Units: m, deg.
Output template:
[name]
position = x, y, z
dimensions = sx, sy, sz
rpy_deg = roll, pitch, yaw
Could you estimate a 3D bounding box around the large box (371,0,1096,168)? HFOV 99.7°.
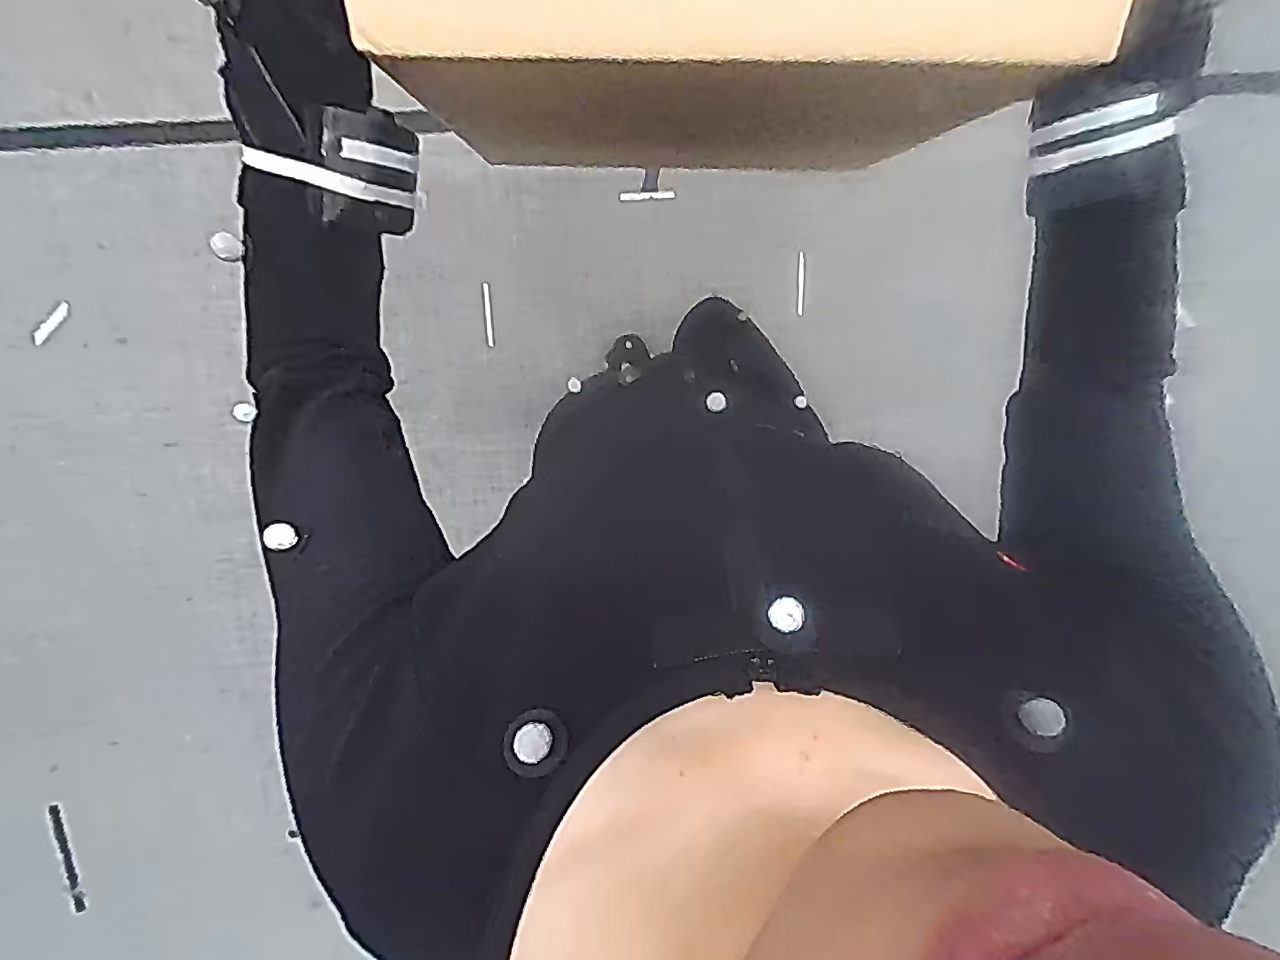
[large box]
position = 0.044, -0.433, 0.388
dimensions = 0.408, 0.320, 0.320
rpy_deg = -1, 110, -3
